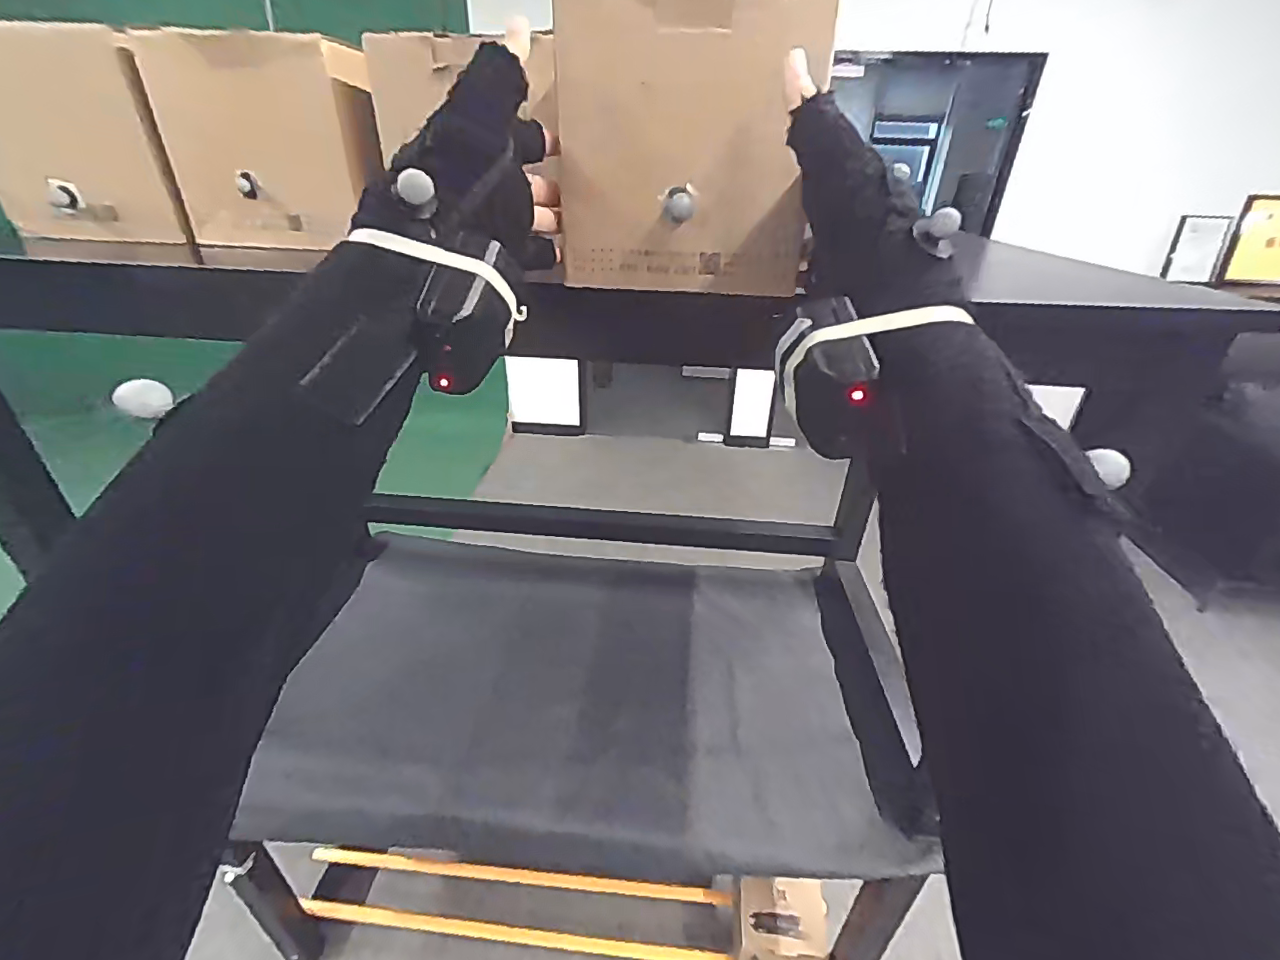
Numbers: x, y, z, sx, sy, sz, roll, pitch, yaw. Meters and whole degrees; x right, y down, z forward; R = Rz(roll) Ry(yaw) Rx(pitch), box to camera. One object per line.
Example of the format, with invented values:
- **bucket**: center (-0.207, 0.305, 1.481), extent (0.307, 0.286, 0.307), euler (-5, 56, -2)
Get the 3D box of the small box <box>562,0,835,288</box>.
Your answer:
- **small box**: center (0.039, -0.255, 0.425), extent (0.168, 0.176, 0.179), euler (4, 28, 5)
